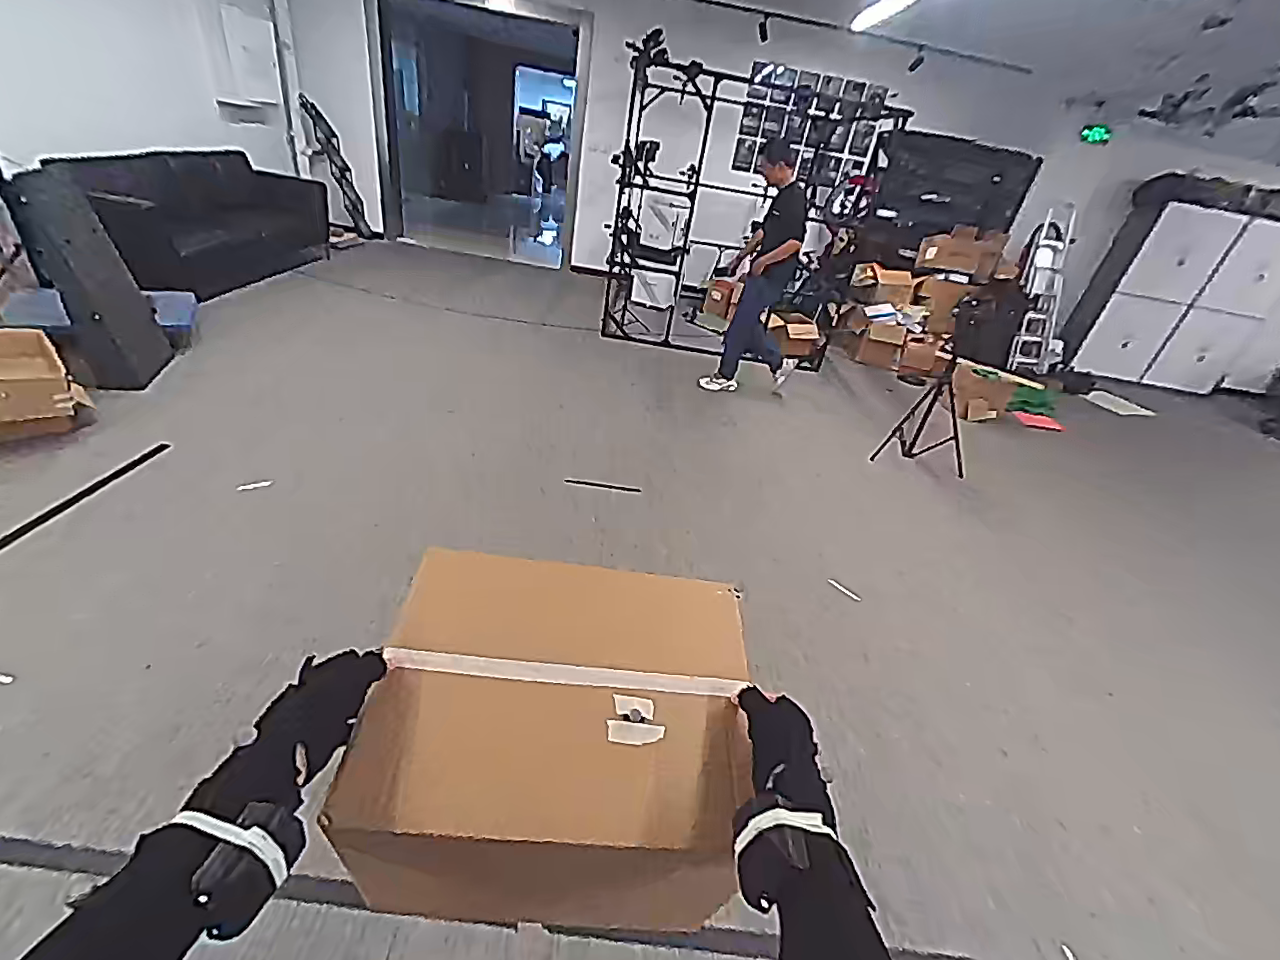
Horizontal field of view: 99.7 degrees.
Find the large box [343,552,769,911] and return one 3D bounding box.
[{"bbox_3d":[-0.097,0.328,0.702,0.408,0.320,0.320,8,41,-6],"label":"large box"}]
